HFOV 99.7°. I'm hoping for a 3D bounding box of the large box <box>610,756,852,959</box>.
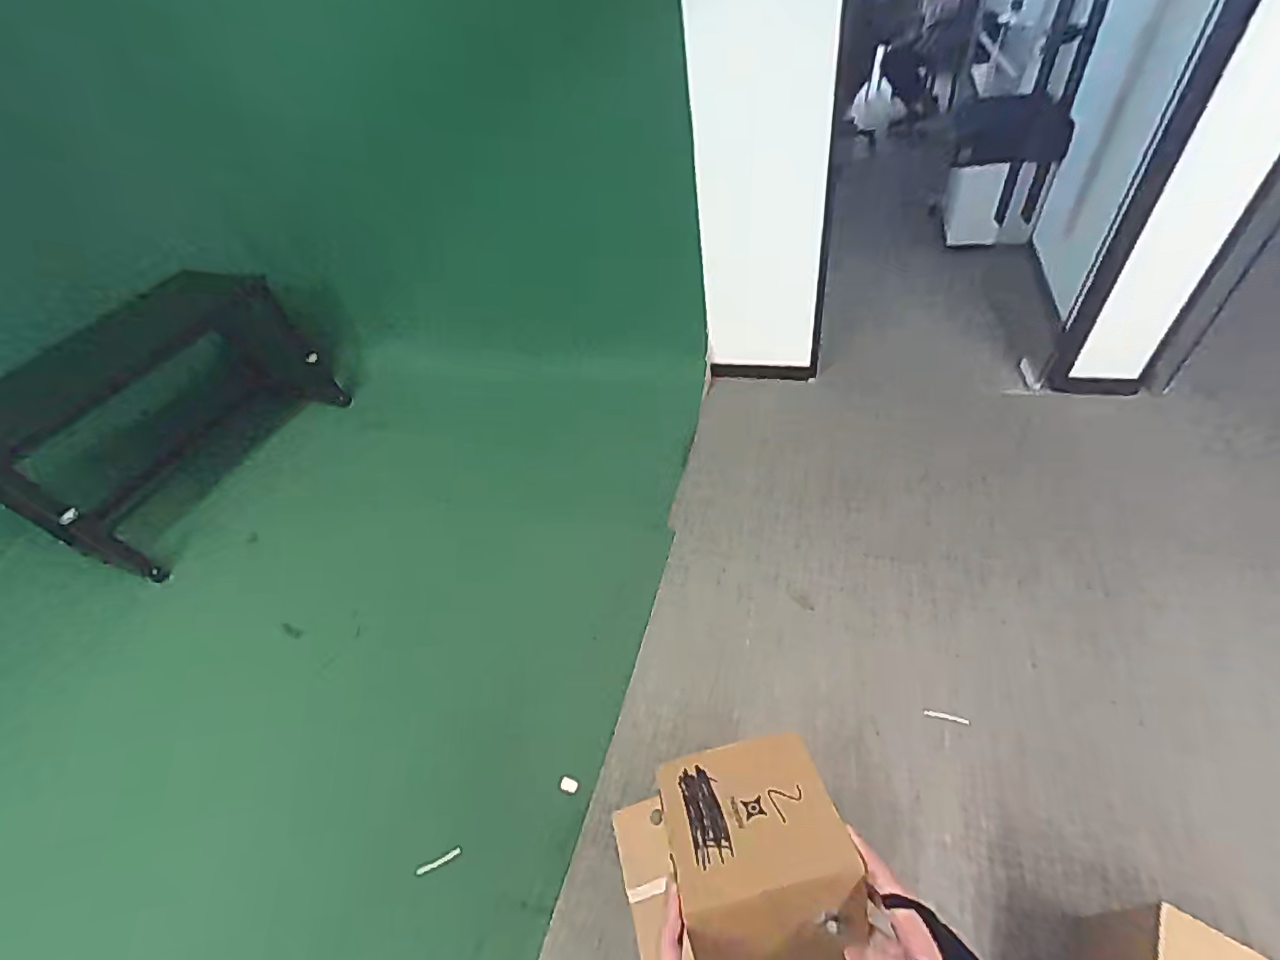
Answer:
[{"bbox_3d":[0.188,0.867,1.180,0.408,0.320,0.320,-18,46,-4],"label":"large box"}]
